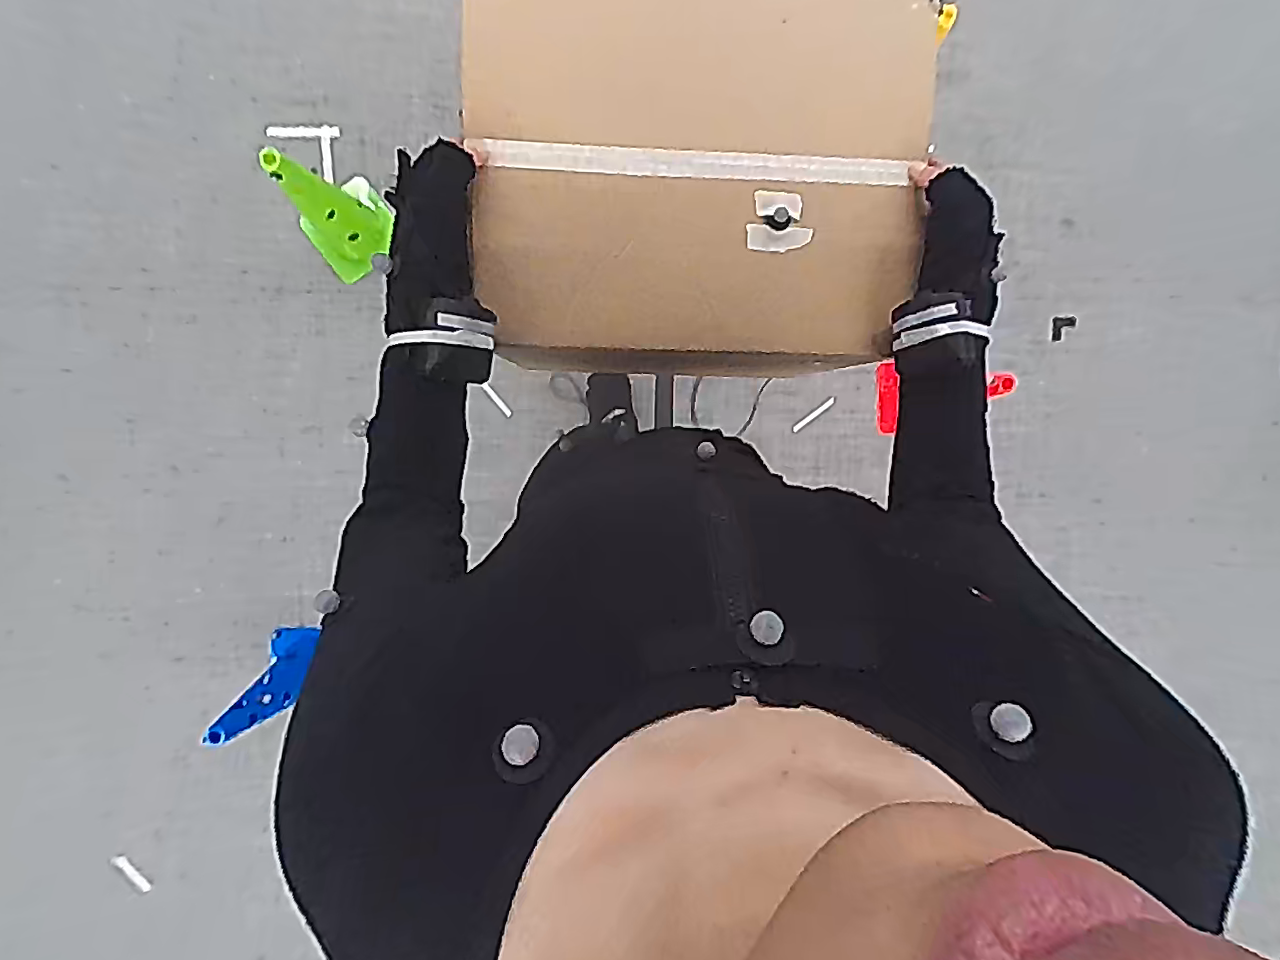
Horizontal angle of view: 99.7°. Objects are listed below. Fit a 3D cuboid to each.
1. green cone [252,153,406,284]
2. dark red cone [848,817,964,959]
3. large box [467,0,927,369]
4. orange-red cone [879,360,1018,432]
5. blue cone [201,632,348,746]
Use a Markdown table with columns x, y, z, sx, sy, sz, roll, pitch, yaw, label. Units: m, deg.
| x | y | z | sx | sy | sz | roll | pitch | yaw | label |
| --- | --- | --- | --- | --- | --- | --- | --- | --- | --- |
| -0.711 | -0.612 | 1.187 | 0.202 | 0.368 | 0.200 | -38 | 95 | 1 | green cone |
| 0.705 | 1.074 | 1.383 | 0.201 | 0.394 | 0.202 | 5 | 93 | -3 | dark red cone |
| 0.041 | -0.298 | 0.621 | 0.408 | 0.320 | 0.320 | 0 | 97 | -5 | large box |
| 0.771 | -0.224 | 1.325 | 0.198 | 0.360 | 0.199 | -3 | 93 | -5 | orange-red cone |
| -0.862 | 0.506 | 1.269 | 0.192 | 0.380 | 0.193 | 3 | 93 | -3 | blue cone |
